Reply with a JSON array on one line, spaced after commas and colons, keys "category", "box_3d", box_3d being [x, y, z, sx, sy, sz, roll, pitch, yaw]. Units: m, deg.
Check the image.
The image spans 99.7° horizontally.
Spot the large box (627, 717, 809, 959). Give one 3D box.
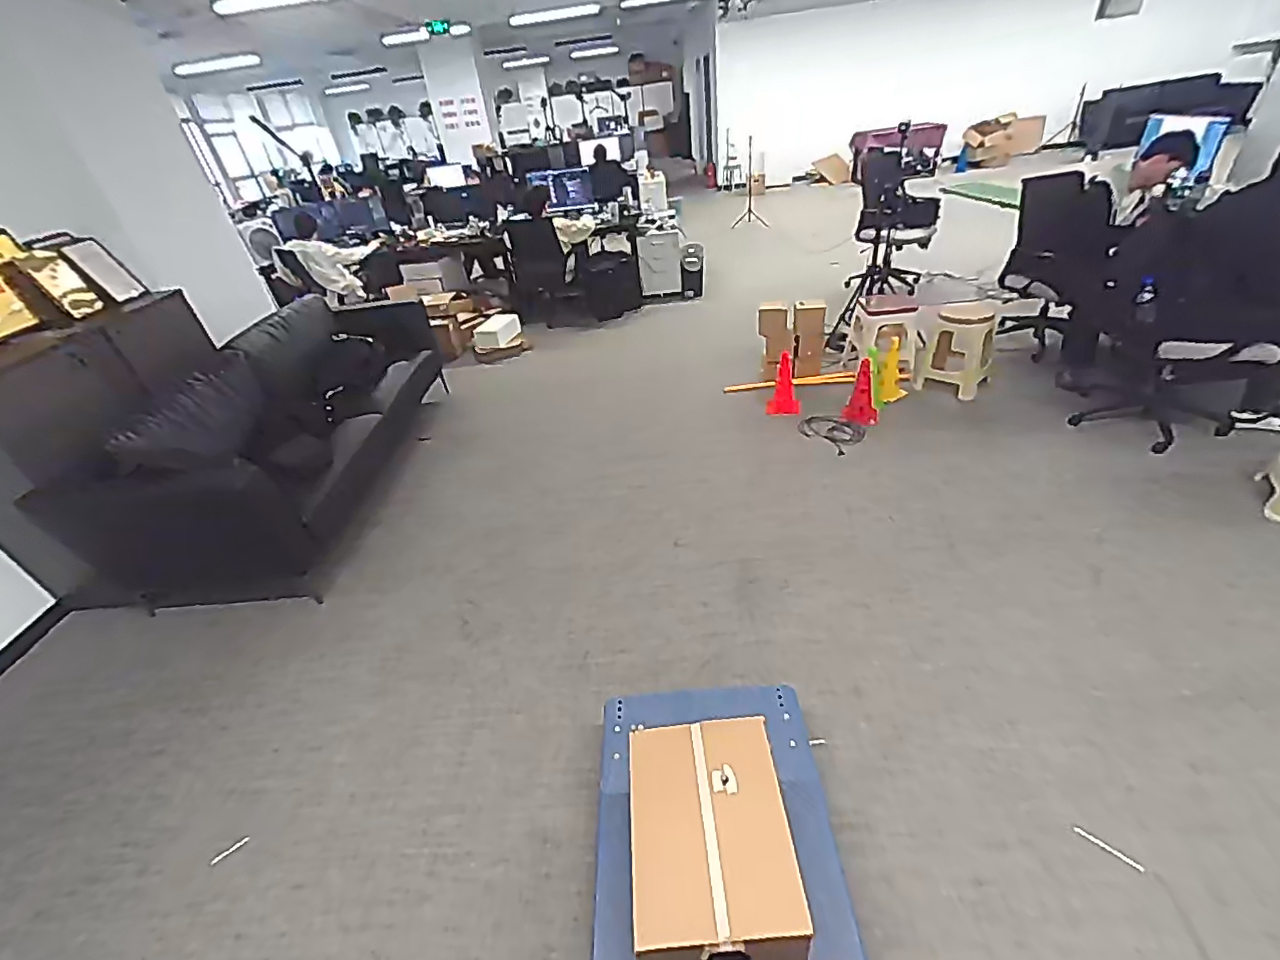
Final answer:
[{"category": "large box", "box_3d": [0.154, 0.806, 1.186, 0.320, 0.320, 0.408, -7, 35, 2]}]
